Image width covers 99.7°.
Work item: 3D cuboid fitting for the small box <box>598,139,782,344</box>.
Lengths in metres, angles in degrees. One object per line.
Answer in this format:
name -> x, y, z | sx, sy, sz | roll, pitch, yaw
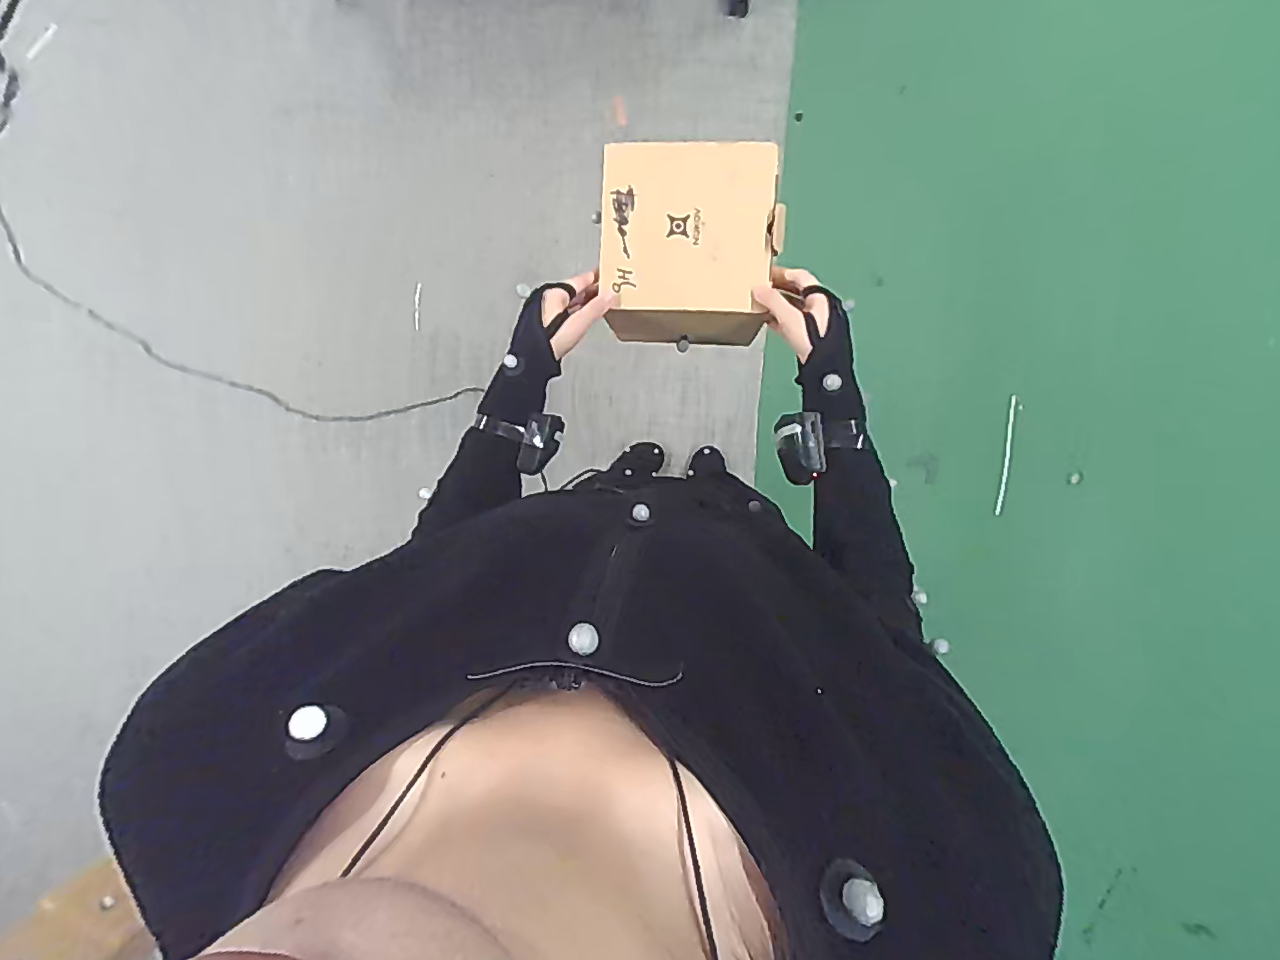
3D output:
small box -> 0.053, -0.255, 0.615 | 0.179, 0.176, 0.168 | 3, 93, 4
